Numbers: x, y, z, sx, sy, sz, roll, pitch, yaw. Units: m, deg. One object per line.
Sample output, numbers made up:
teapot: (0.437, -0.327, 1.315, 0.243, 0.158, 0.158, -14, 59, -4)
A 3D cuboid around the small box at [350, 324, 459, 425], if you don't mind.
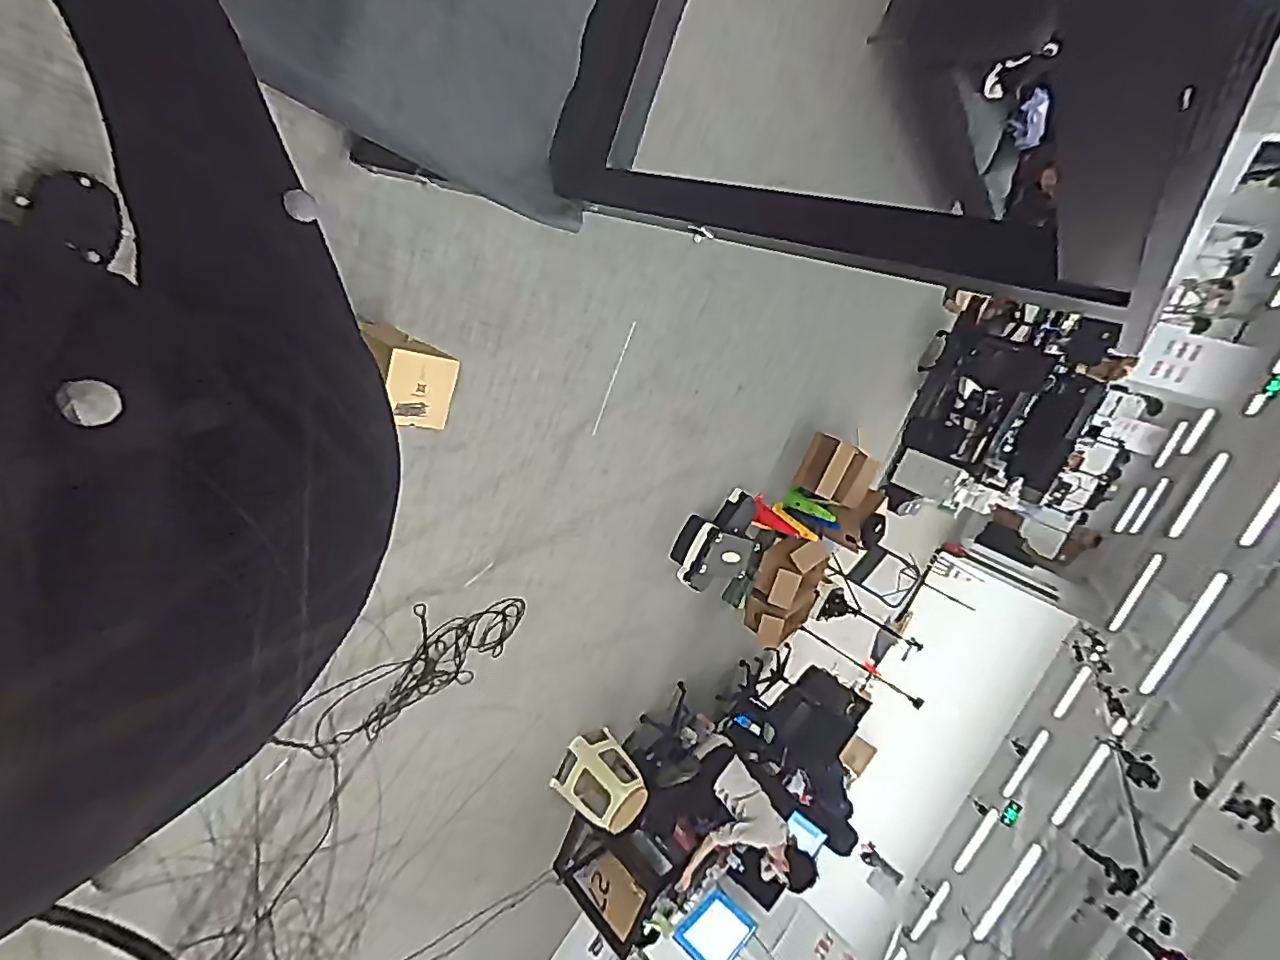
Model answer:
small box: (-0.561, -0.247, 1.275, 0.168, 0.176, 0.179, 2, 112, -51)
